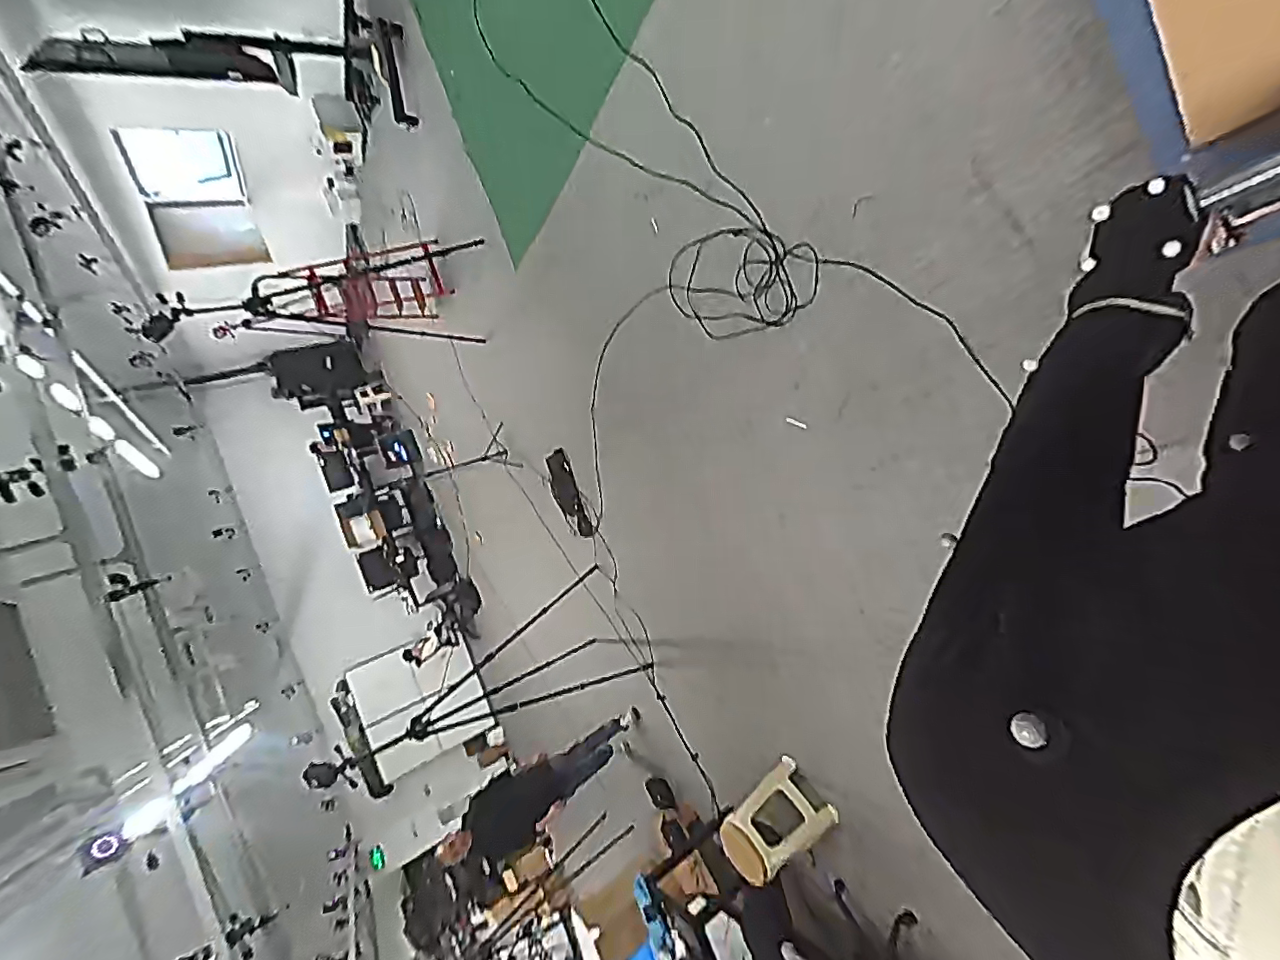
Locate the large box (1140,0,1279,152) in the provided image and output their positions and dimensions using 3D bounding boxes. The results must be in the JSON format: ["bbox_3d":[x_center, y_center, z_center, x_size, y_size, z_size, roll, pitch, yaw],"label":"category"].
[{"bbox_3d":[0.914,-0.721,0.712,0.320,0.320,0.408,-15,94,58],"label":"large box"}]
